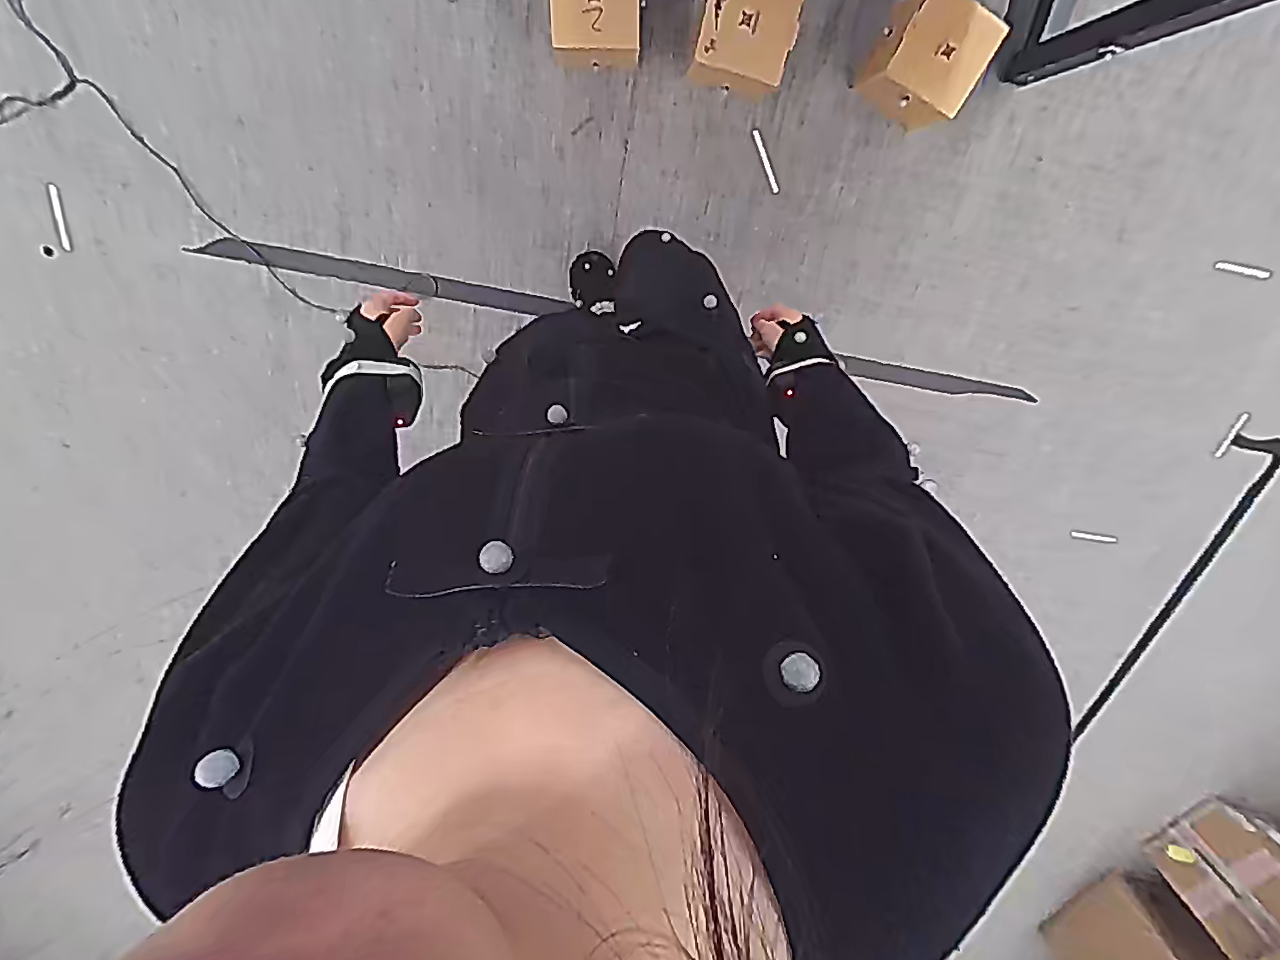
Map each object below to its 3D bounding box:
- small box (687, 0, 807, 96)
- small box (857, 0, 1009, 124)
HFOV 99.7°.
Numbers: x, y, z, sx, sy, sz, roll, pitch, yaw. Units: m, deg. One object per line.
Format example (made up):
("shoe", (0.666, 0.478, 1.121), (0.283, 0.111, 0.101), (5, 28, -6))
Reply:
("small box", (0.204, -0.887, 1.070), (0.179, 0.176, 0.168), (12, 115, -8))
("small box", (0.582, -0.856, 1.099), (0.179, 0.176, 0.168), (24, 113, -12))
